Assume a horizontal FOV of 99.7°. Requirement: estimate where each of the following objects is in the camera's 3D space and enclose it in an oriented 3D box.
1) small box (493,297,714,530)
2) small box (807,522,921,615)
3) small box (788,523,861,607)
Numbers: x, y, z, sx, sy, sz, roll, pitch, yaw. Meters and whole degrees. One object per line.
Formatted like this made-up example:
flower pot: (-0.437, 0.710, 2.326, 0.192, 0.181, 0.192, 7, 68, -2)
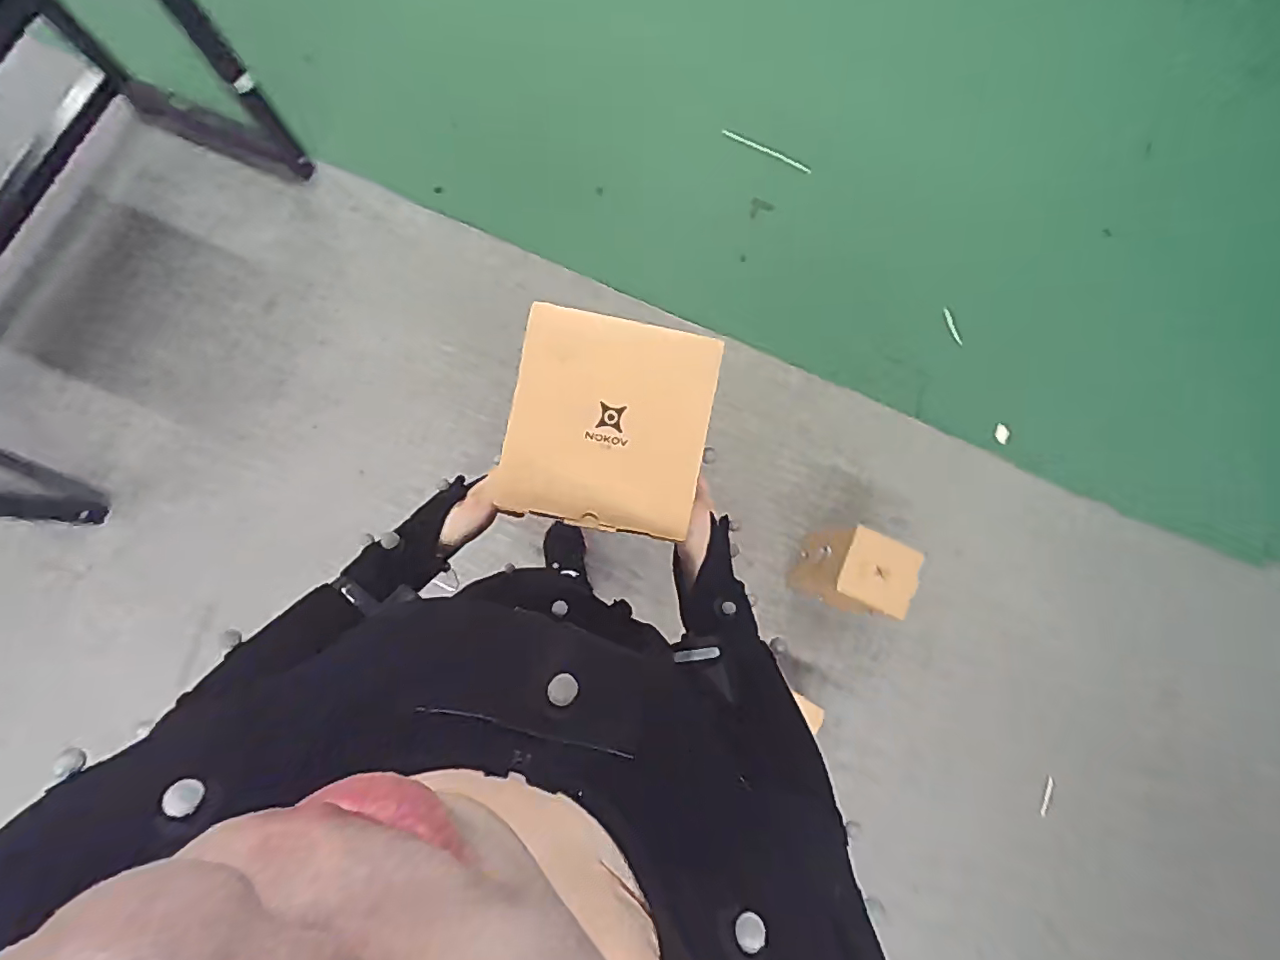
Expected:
small box: (-0.035, -0.059, 0.541, 0.168, 0.176, 0.179, 10, 93, -3)
small box: (0.546, 0.215, 1.334, 0.179, 0.176, 0.168, 25, 80, 0)
small box: (0.536, 0.235, 1.495, 0.179, 0.176, 0.168, 28, 81, 1)
